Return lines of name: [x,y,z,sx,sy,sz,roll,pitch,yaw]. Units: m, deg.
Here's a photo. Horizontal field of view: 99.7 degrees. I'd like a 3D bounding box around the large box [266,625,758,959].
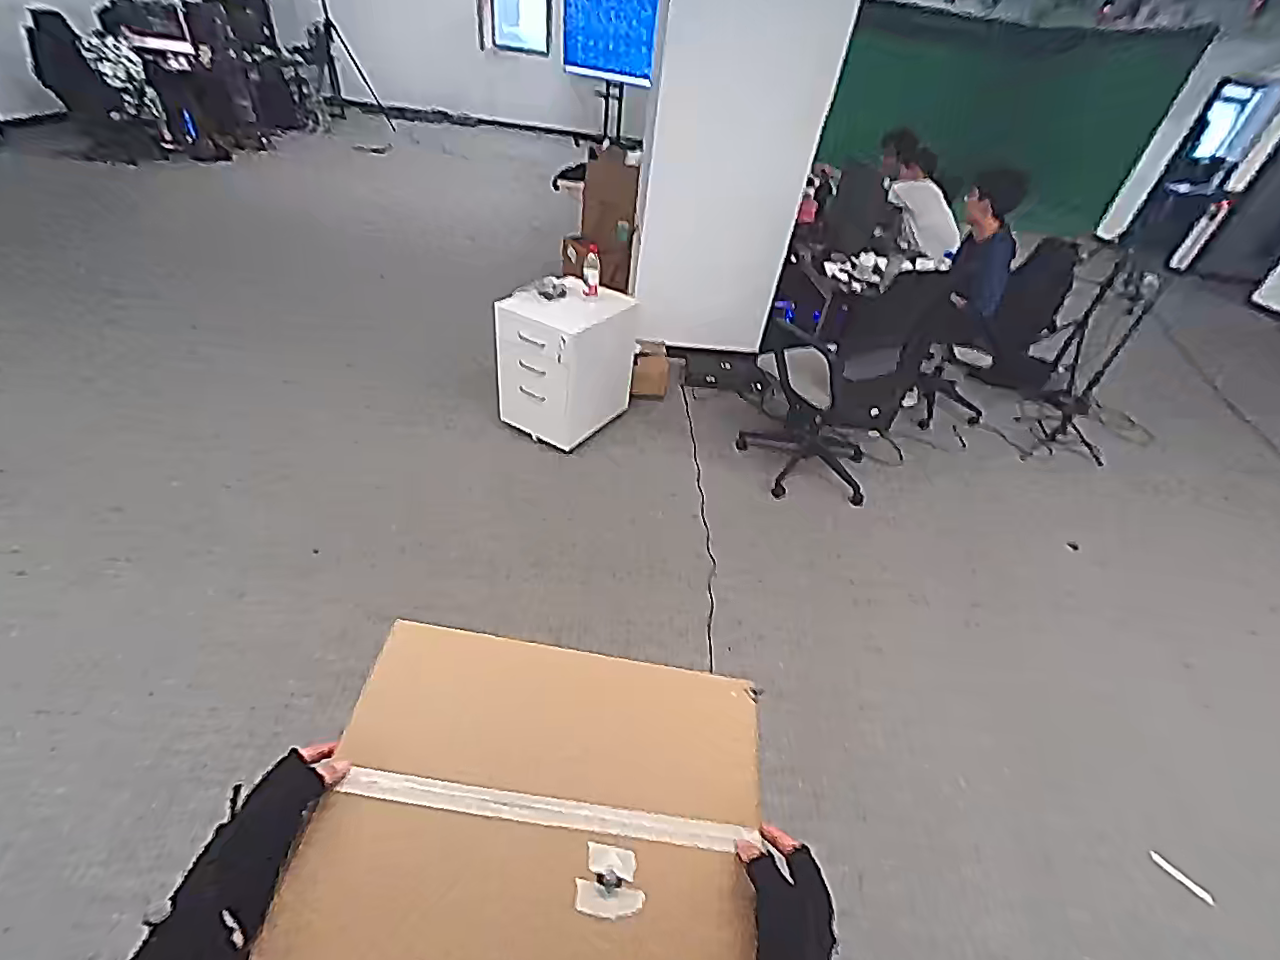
large box: [-0.107,0.406,0.627,0.408,0.320,0.320,11,49,-2]
